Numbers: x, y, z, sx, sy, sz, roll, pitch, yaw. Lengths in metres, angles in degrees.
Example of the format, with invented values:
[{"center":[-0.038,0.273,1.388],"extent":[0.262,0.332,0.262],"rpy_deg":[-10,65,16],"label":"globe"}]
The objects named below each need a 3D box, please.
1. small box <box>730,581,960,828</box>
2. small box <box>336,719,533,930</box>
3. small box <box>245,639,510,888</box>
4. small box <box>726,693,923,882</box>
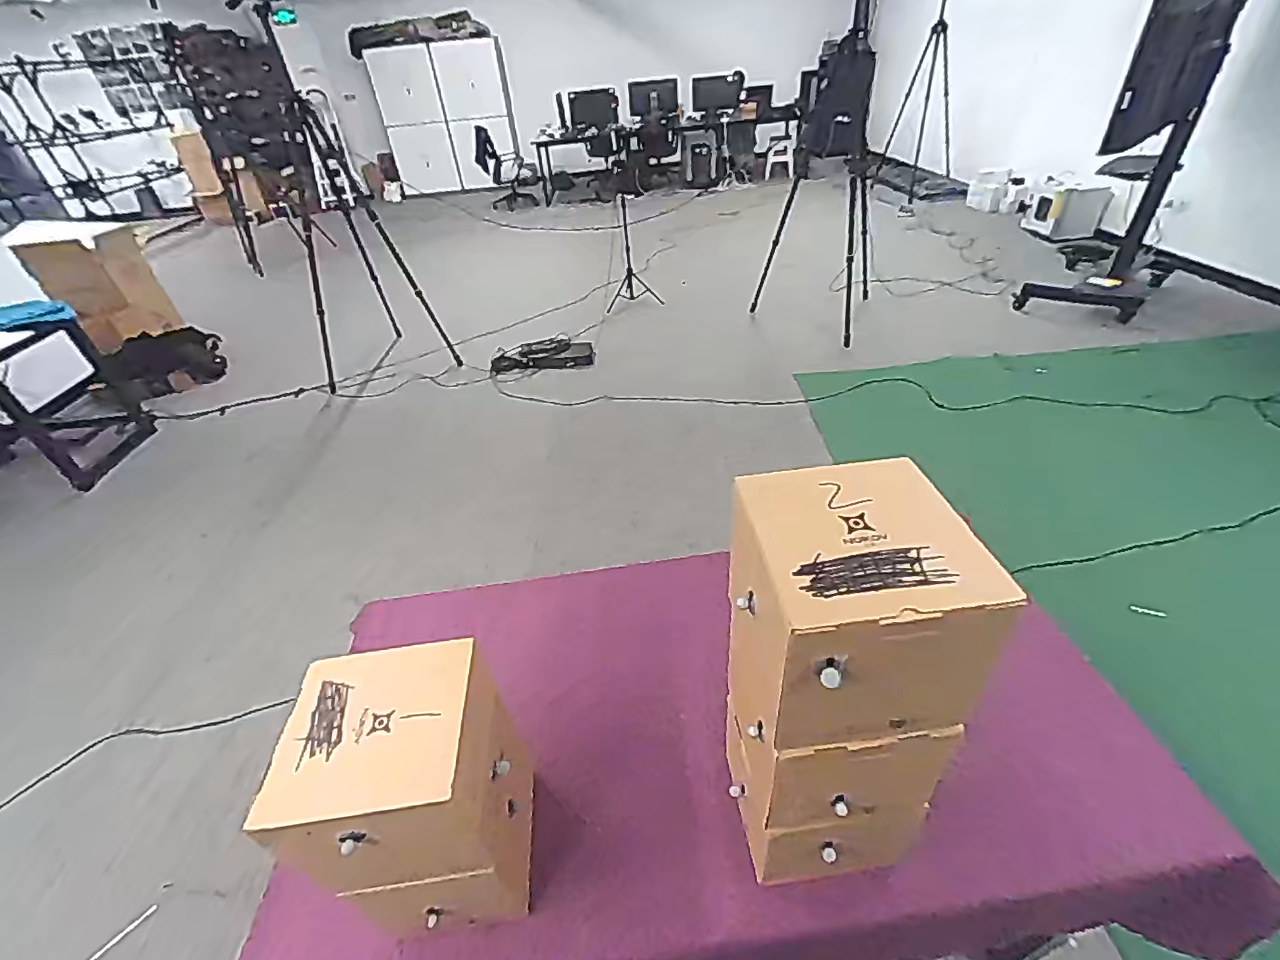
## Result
[{"center":[0.194,0.236,0.578],"extent":[0.168,0.176,0.179],"rpy_deg":[-7,38,-2],"label":"small box"},{"center":[-0.231,0.423,0.666],"extent":[0.168,0.176,0.179],"rpy_deg":[-7,38,-2],"label":"small box"},{"center":[-0.247,0.295,0.564],"extent":[0.179,0.176,0.168],"rpy_deg":[-7,38,-2],"label":"small box"},{"center":[0.213,0.368,0.672],"extent":[0.179,0.176,0.168],"rpy_deg":[-9,38,-2],"label":"small box"}]
